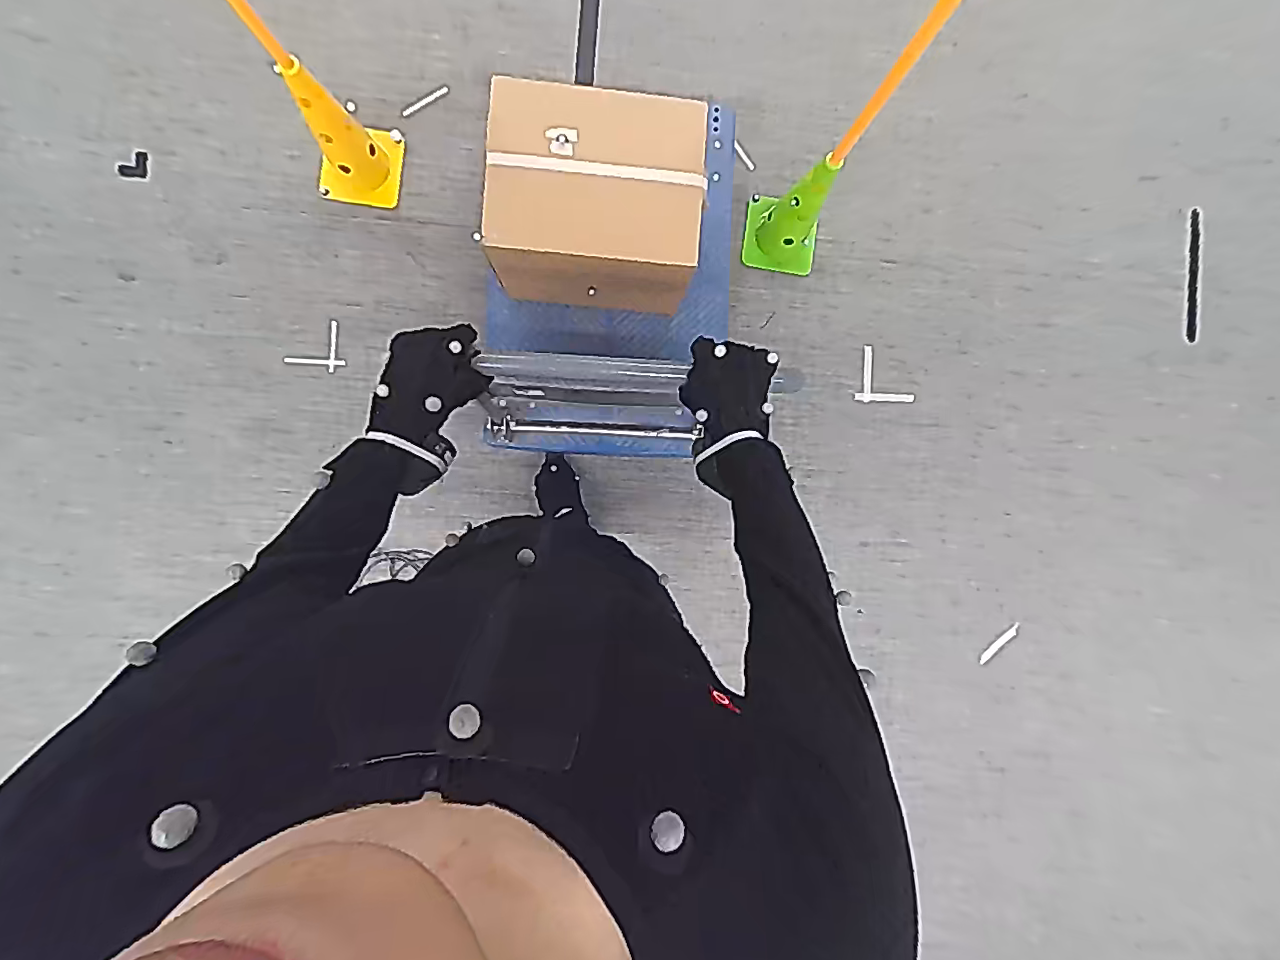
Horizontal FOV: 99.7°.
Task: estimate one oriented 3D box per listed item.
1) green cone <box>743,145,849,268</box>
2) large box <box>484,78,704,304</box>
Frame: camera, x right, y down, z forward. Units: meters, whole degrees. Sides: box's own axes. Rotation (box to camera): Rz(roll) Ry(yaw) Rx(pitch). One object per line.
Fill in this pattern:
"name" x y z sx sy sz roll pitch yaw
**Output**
"green cone" 0.409 -0.700 1.338 0.202 0.368 0.200 8 90 -5
"large box" -0.090 -0.585 1.159 0.408 0.320 0.320 4 90 -3
